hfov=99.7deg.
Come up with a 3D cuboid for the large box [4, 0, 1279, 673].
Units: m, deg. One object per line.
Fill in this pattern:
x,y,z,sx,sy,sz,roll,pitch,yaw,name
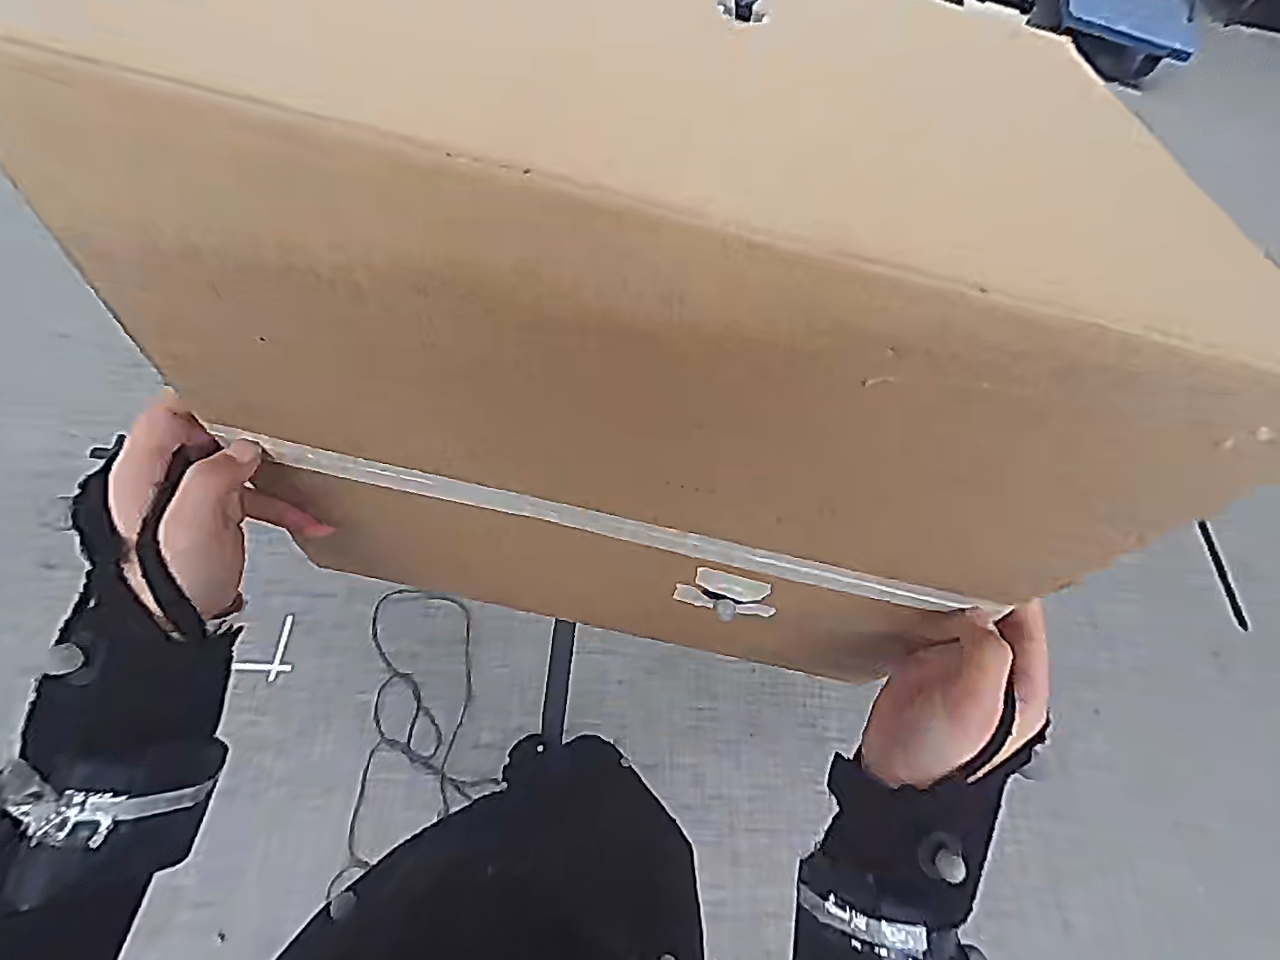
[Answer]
0.013,-0.101,0.361,0.408,0.320,0.320,12,56,-3,large box
